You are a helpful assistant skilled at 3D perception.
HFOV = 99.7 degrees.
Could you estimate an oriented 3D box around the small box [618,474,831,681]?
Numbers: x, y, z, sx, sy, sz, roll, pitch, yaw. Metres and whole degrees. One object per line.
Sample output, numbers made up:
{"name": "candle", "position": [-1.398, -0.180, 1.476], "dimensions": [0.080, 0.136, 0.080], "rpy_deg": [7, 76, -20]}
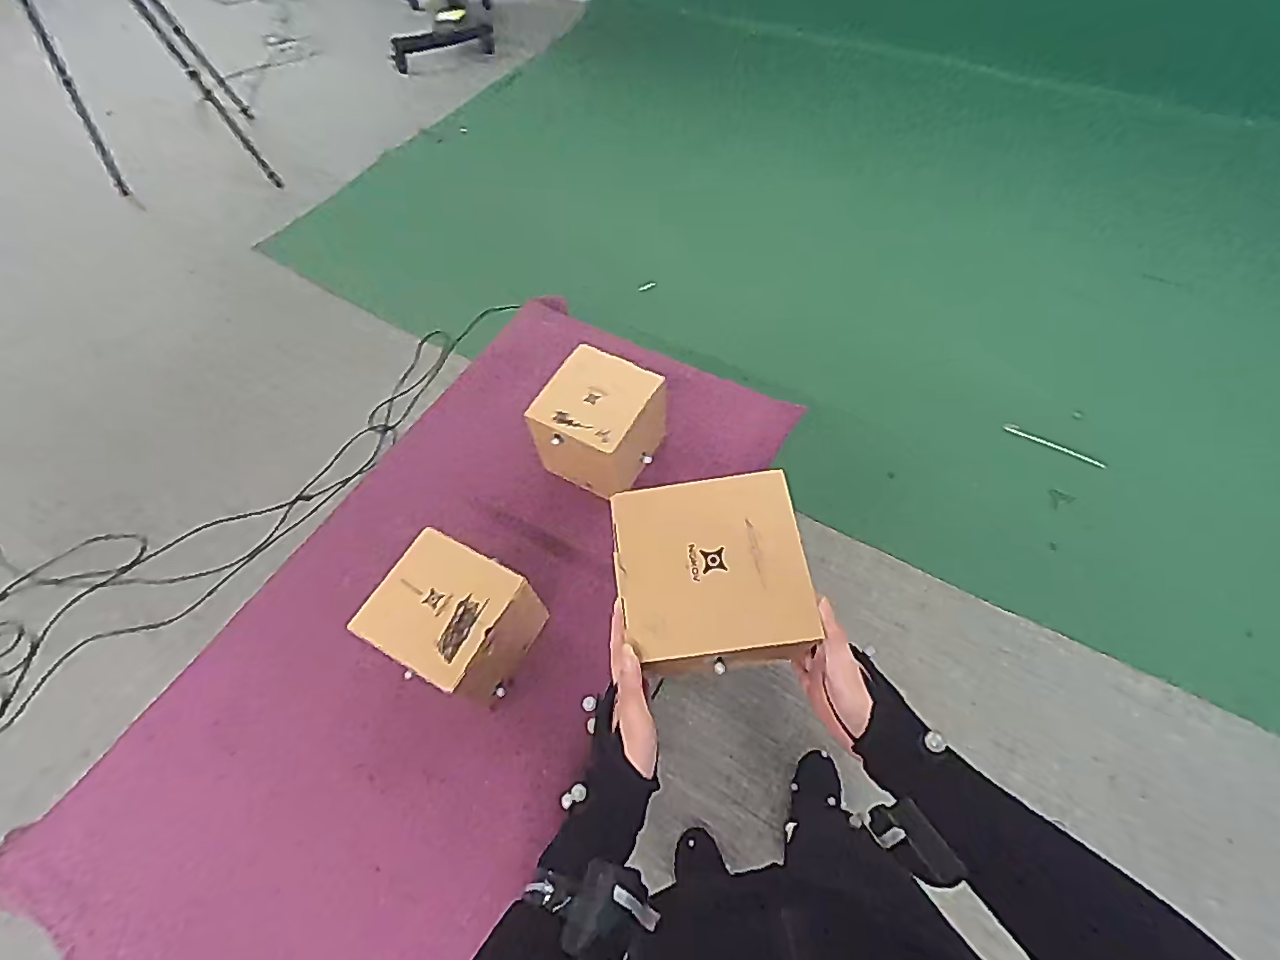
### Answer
{"name": "small box", "position": [0.080, 0.111, 0.568], "dimensions": [0.179, 0.176, 0.168], "rpy_deg": [-7, 65, 3]}

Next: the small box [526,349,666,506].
{"name": "small box", "position": [-0.069, -0.087, 0.938], "dimensions": [0.168, 0.176, 0.179], "rpy_deg": [25, 63, 17]}

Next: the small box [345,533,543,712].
{"name": "small box", "position": [-0.261, 0.209, 0.769], "dimensions": [0.179, 0.176, 0.168], "rpy_deg": [24, 63, 17]}
